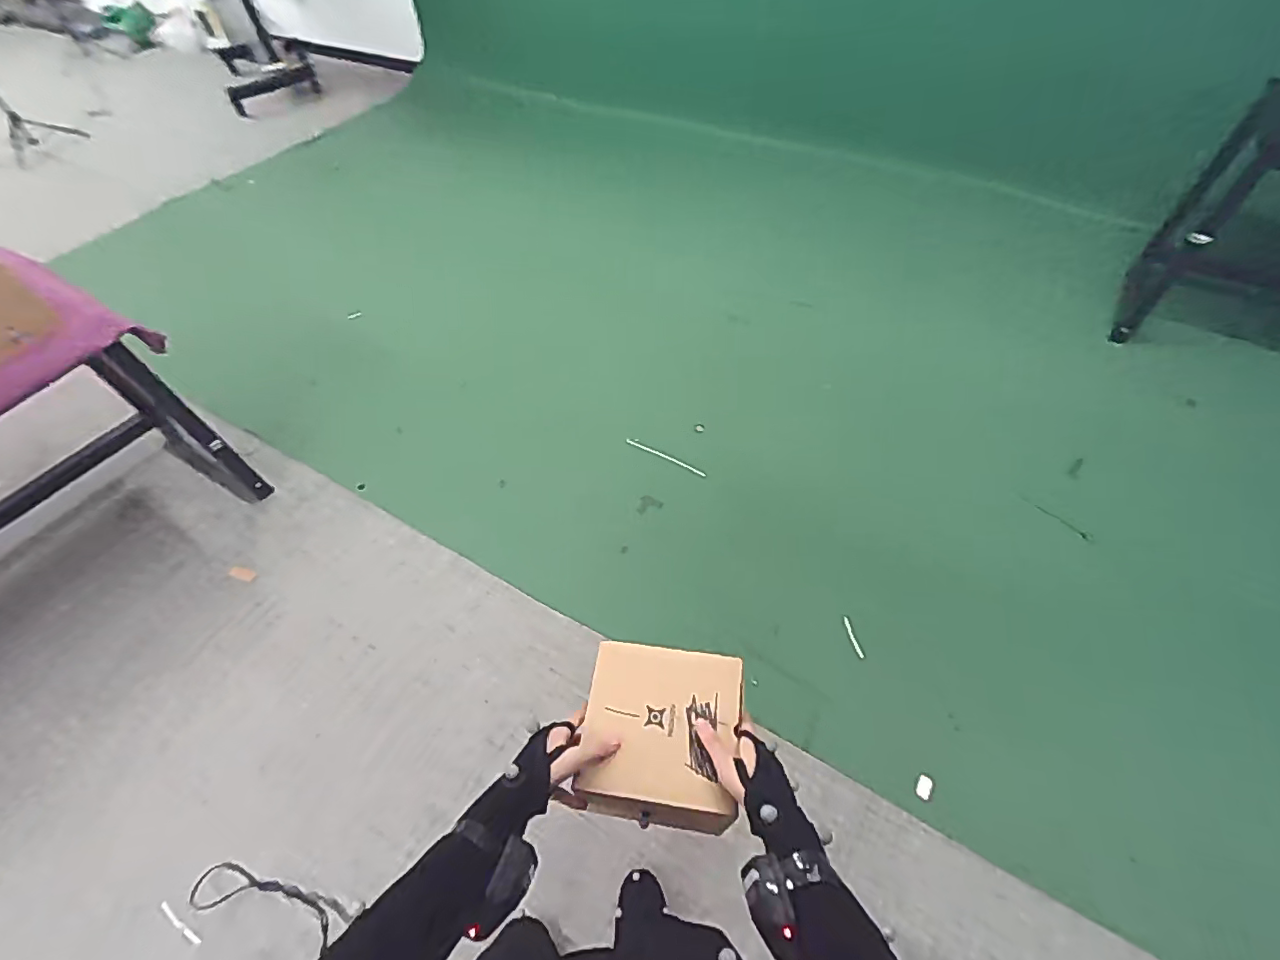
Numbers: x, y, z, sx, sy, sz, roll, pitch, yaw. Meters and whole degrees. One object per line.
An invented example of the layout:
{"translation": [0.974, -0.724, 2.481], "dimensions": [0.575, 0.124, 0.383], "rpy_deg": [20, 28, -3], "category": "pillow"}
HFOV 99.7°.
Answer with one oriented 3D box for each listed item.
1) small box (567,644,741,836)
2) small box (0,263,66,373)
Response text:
{"translation": [0.023, 0.321, 0.660], "dimensions": [0.179, 0.176, 0.168], "rpy_deg": [6, 51, 7], "category": "small box"}
{"translation": [-1.425, -0.363, 1.173], "dimensions": [0.168, 0.176, 0.179], "rpy_deg": [21, 57, 18], "category": "small box"}
